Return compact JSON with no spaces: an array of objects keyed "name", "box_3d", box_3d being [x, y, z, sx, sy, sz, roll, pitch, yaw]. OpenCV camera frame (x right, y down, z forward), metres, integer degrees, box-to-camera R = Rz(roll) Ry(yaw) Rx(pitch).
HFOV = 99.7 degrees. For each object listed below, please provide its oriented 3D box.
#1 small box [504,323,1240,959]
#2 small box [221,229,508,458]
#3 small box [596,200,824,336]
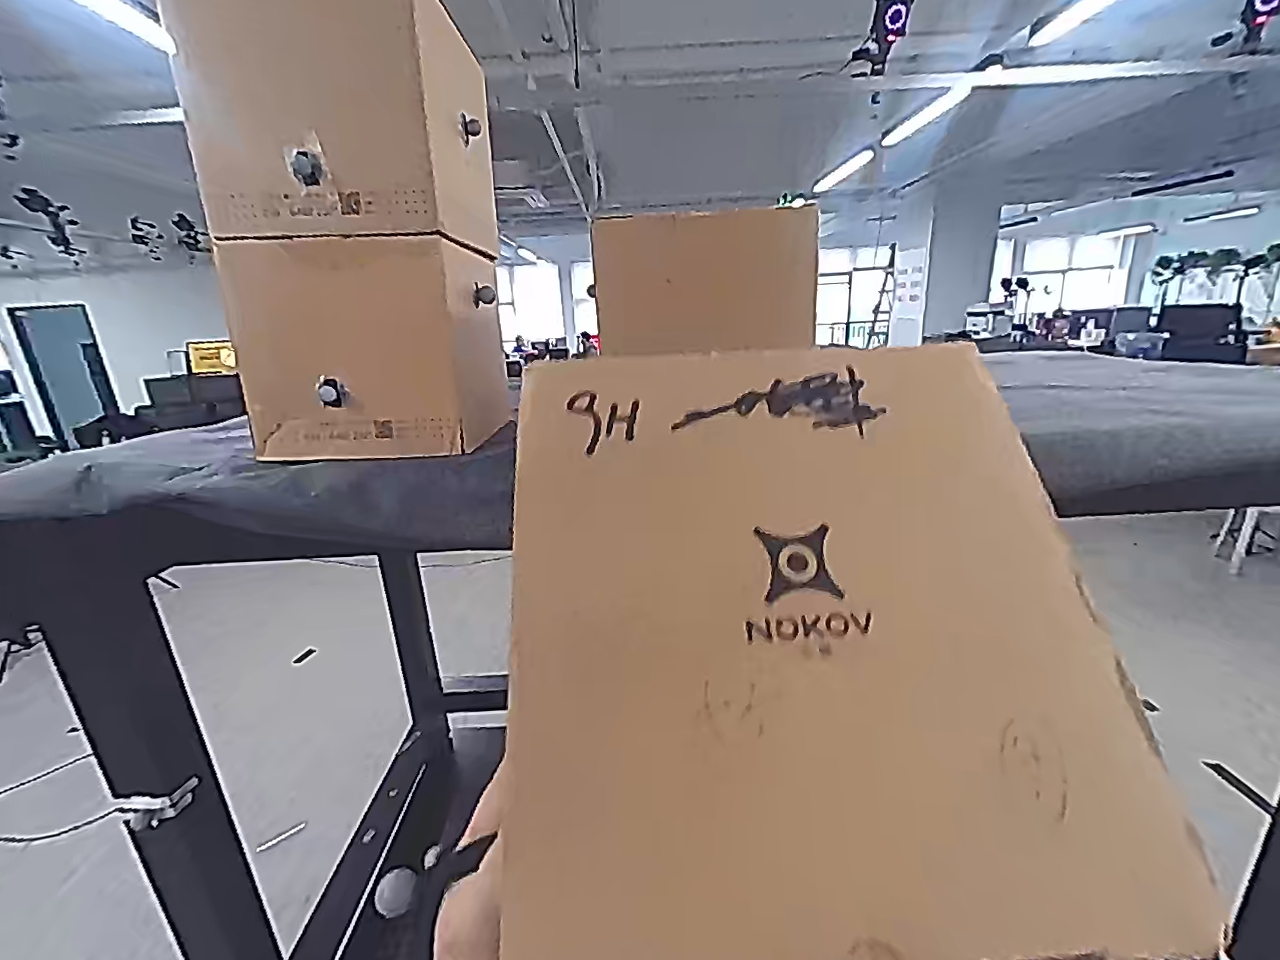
[{"name":"small box","box_3d":[0.046,0.060,0.224,0.168,0.179,0.176,-2,-25,-3]},{"name":"small box","box_3d":[-0.220,-0.119,0.486,0.168,0.176,0.179,-2,16,-1]},{"name":"small box","box_3d":[0.053,-0.135,0.483,0.168,0.176,0.179,-3,15,1]}]
